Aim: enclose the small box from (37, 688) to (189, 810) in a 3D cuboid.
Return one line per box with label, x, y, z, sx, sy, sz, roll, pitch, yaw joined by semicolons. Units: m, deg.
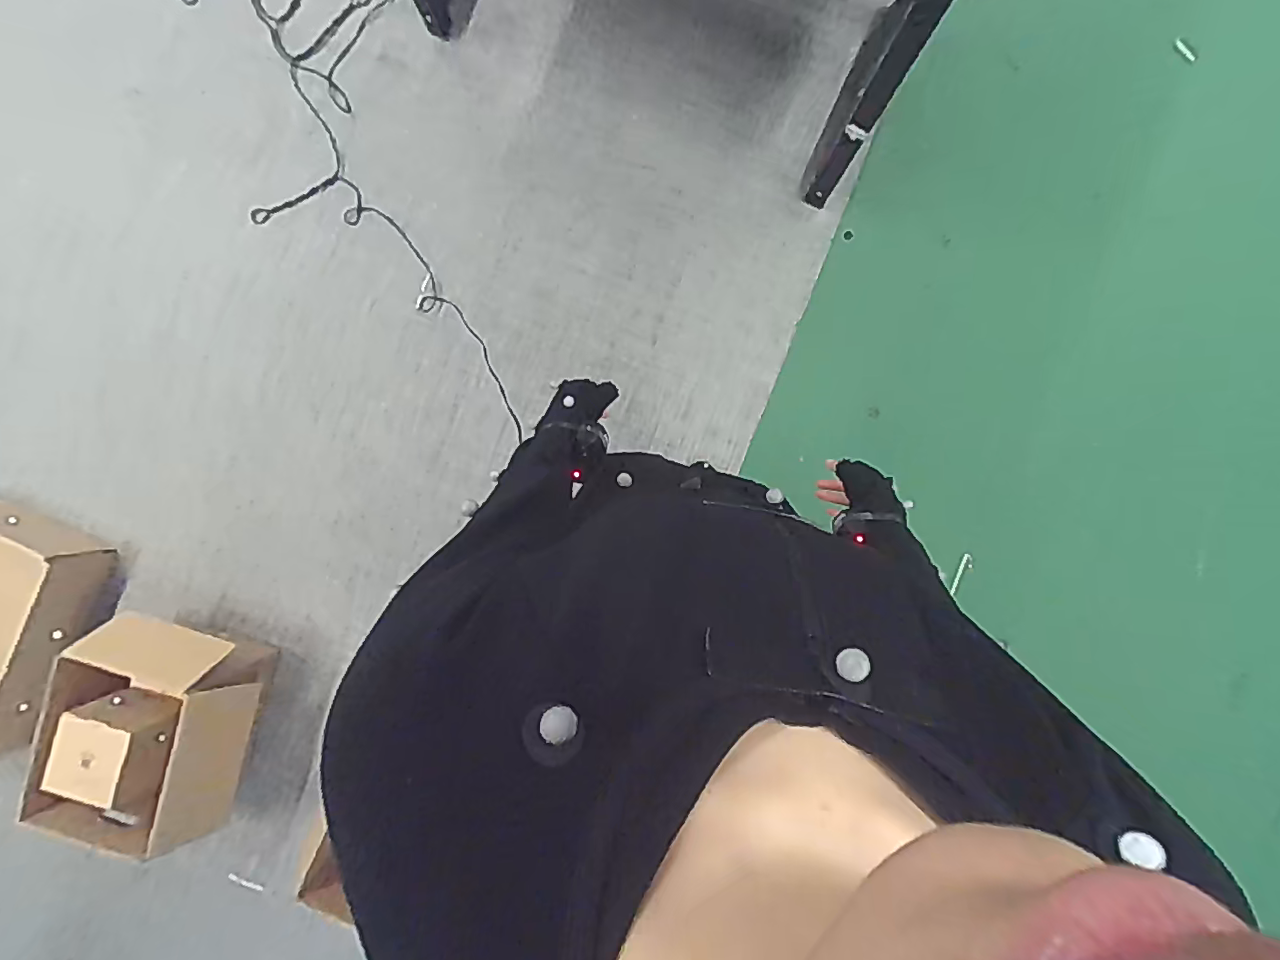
small box;-1.198;0.607;1.245;0.168;0.176;0.179;16;89;2
